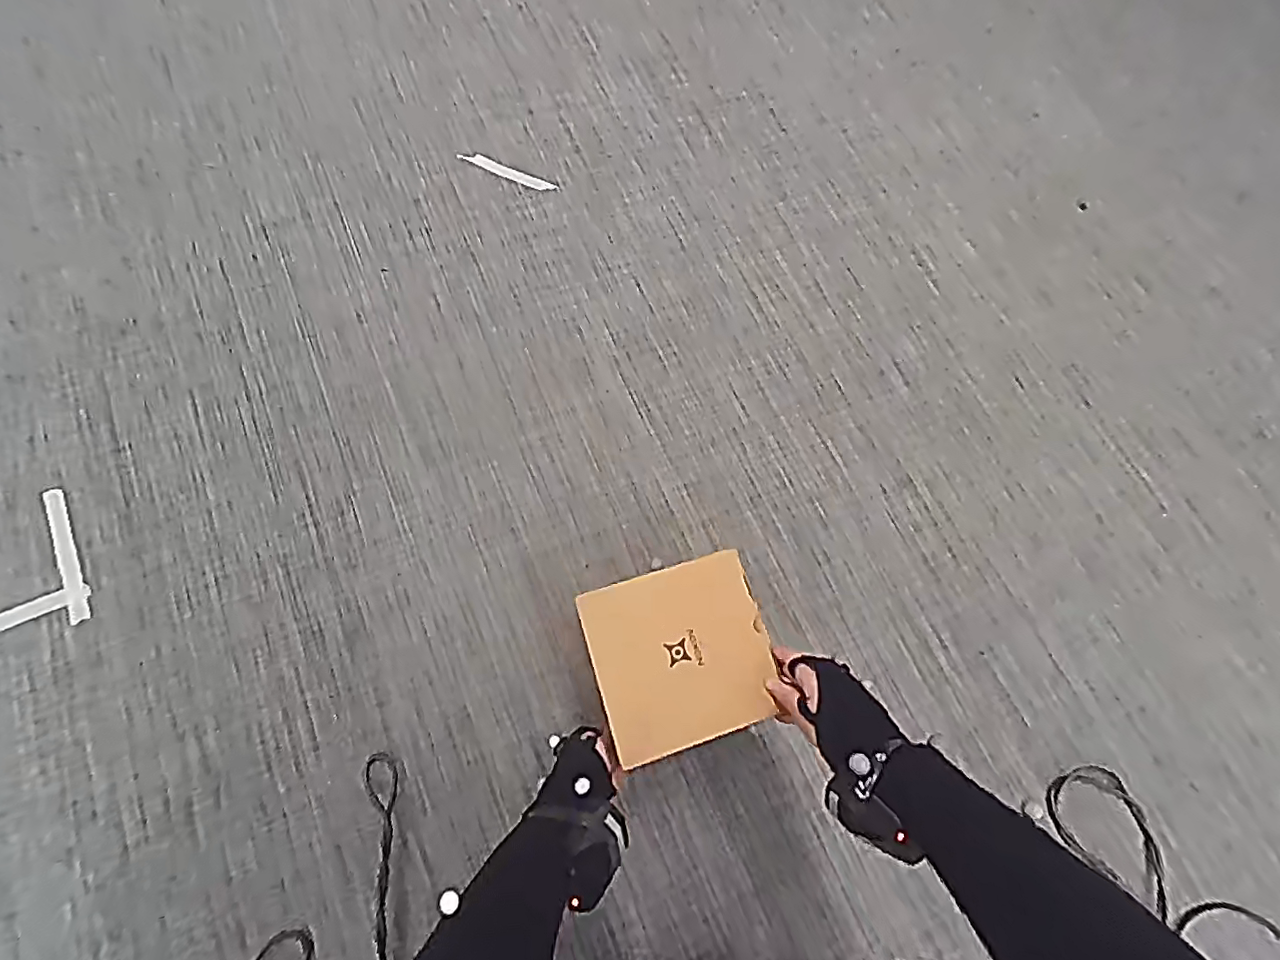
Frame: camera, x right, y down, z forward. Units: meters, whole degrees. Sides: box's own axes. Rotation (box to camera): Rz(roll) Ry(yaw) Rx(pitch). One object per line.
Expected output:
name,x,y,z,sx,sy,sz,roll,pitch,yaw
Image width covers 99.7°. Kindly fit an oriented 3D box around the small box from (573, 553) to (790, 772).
small box,0.033,0.197,0.600,0.179,0.176,0.168,-16,74,-11
